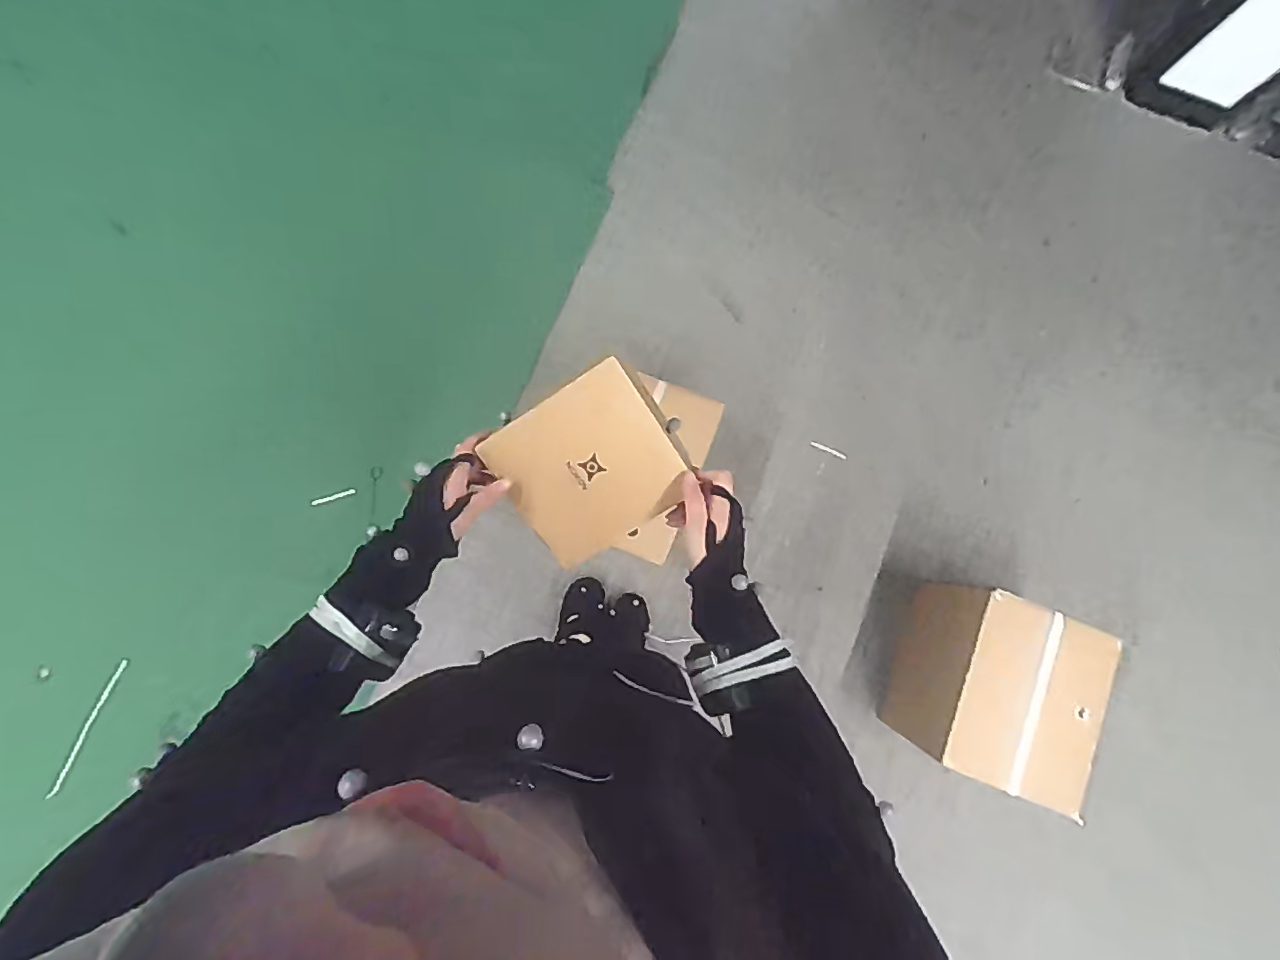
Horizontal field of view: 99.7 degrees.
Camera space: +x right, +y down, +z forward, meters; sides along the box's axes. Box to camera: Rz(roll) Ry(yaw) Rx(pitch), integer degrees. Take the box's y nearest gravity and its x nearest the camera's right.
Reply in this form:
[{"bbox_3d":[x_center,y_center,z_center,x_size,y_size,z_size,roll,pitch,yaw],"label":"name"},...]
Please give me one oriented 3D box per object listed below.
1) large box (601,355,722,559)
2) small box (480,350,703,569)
[{"bbox_3d":[-0.021,-0.036,1.384,0.320,0.320,0.408,22,83,1],"label":"large box"},{"bbox_3d":[-0.049,-0.036,0.628,0.179,0.176,0.168,-32,104,10],"label":"small box"}]
